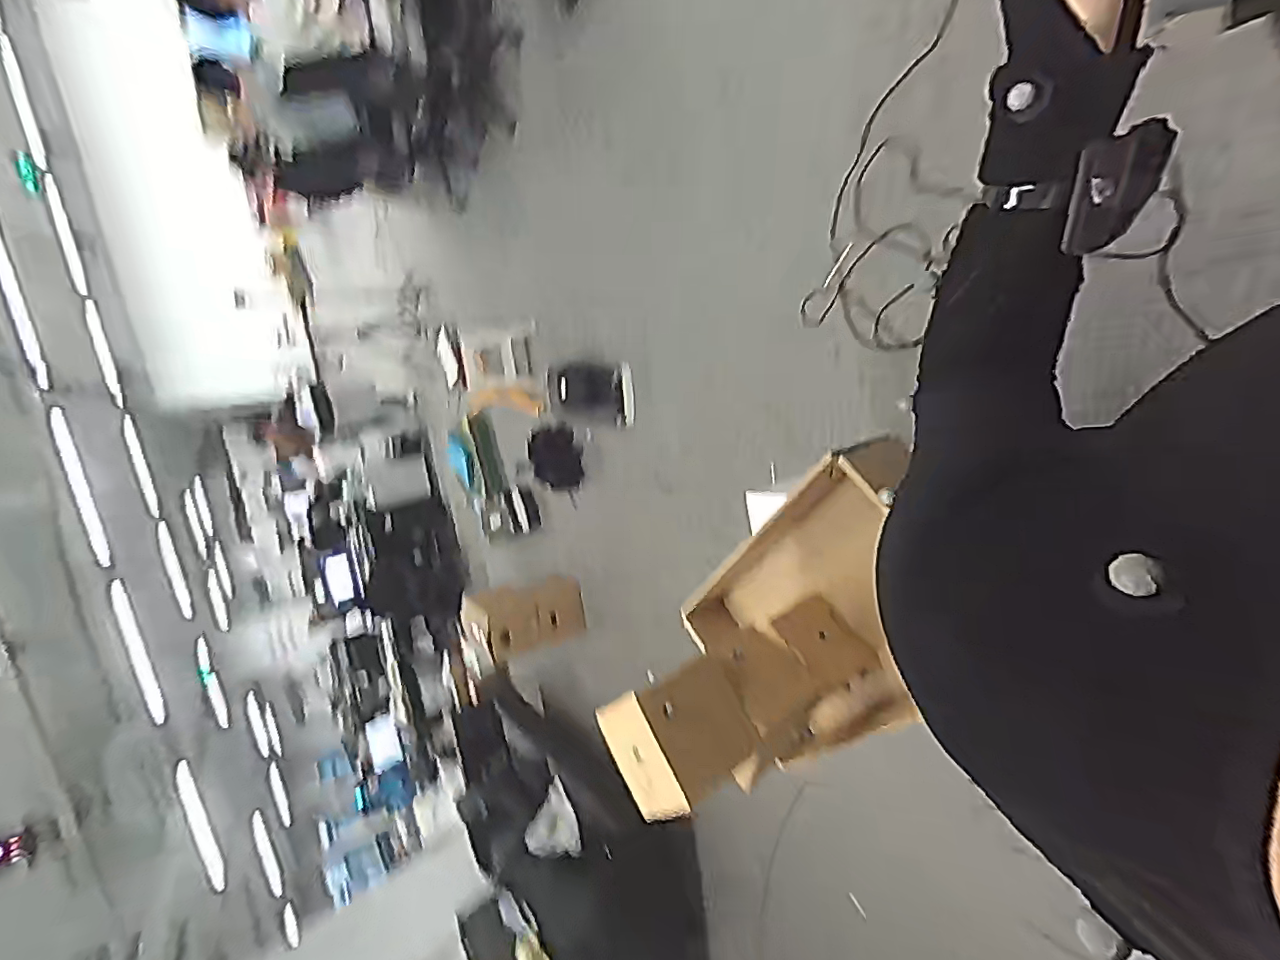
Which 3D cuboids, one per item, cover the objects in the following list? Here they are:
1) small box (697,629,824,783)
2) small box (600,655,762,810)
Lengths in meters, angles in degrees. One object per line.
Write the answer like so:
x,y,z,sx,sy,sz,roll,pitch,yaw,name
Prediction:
0.204,0.403,1.002,0.179,0.176,0.168,33,129,39,small box
0.066,0.415,0.908,0.179,0.176,0.168,59,142,18,small box
